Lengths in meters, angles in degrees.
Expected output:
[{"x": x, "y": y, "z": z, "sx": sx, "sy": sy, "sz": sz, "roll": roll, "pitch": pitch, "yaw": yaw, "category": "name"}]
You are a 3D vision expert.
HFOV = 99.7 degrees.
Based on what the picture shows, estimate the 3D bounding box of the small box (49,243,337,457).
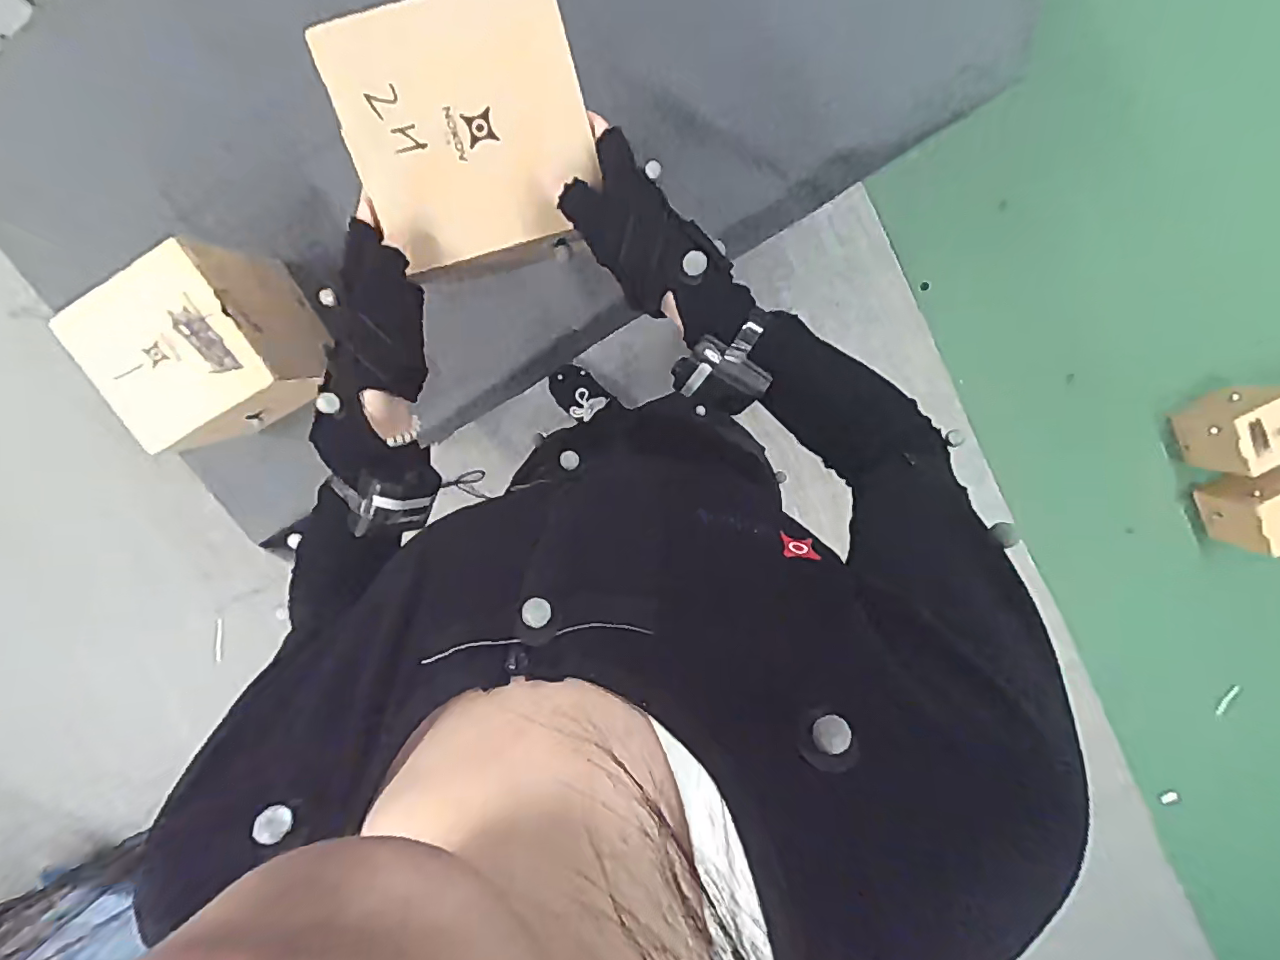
[{"x": -0.501, "y": -0.151, "z": 0.646, "sx": 0.179, "sy": 0.176, "sz": 0.168, "roll": -28, "pitch": 102, "yaw": 6, "category": "small box"}]

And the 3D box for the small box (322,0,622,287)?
[{"x": -0.125, "y": -0.275, "z": 0.471, "sx": 0.179, "sy": 0.176, "sz": 0.168, "roll": -16, "pitch": 108, "yaw": -1, "category": "small box"}]

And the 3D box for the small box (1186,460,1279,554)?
[{"x": 1.659, "y": 0.065, "z": 1.461, "sx": 0.179, "sy": 0.176, "sz": 0.168, "roll": -31, "pitch": 102, "yaw": 8, "category": "small box"}]
